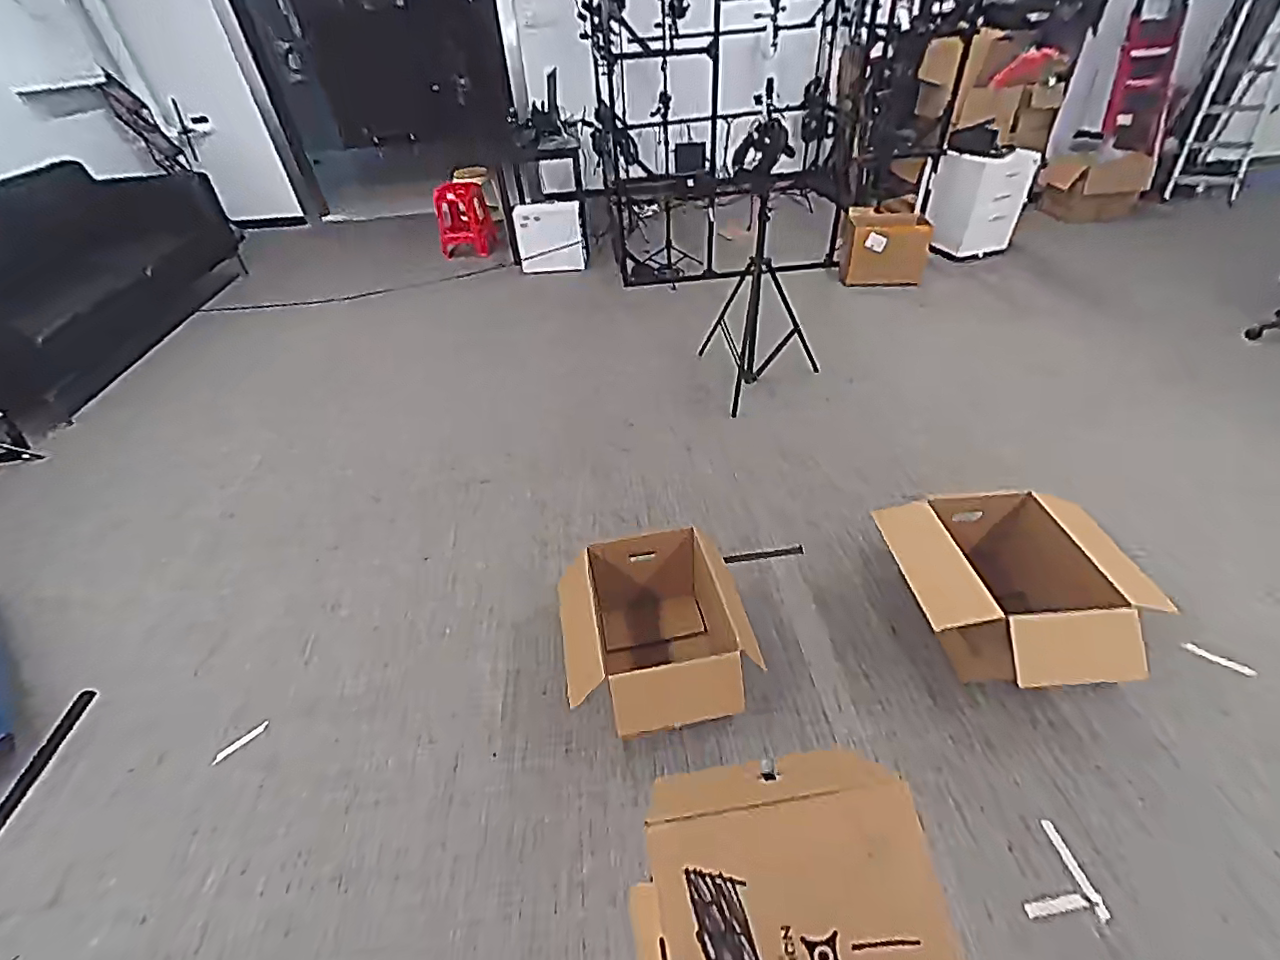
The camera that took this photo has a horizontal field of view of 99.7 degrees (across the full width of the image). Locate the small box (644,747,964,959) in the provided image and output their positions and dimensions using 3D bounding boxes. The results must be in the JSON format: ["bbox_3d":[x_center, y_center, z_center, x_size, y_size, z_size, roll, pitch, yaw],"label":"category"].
[{"bbox_3d":[0.106,0.305,0.396,0.179,0.176,0.168,-10,70,0],"label":"small box"}]
